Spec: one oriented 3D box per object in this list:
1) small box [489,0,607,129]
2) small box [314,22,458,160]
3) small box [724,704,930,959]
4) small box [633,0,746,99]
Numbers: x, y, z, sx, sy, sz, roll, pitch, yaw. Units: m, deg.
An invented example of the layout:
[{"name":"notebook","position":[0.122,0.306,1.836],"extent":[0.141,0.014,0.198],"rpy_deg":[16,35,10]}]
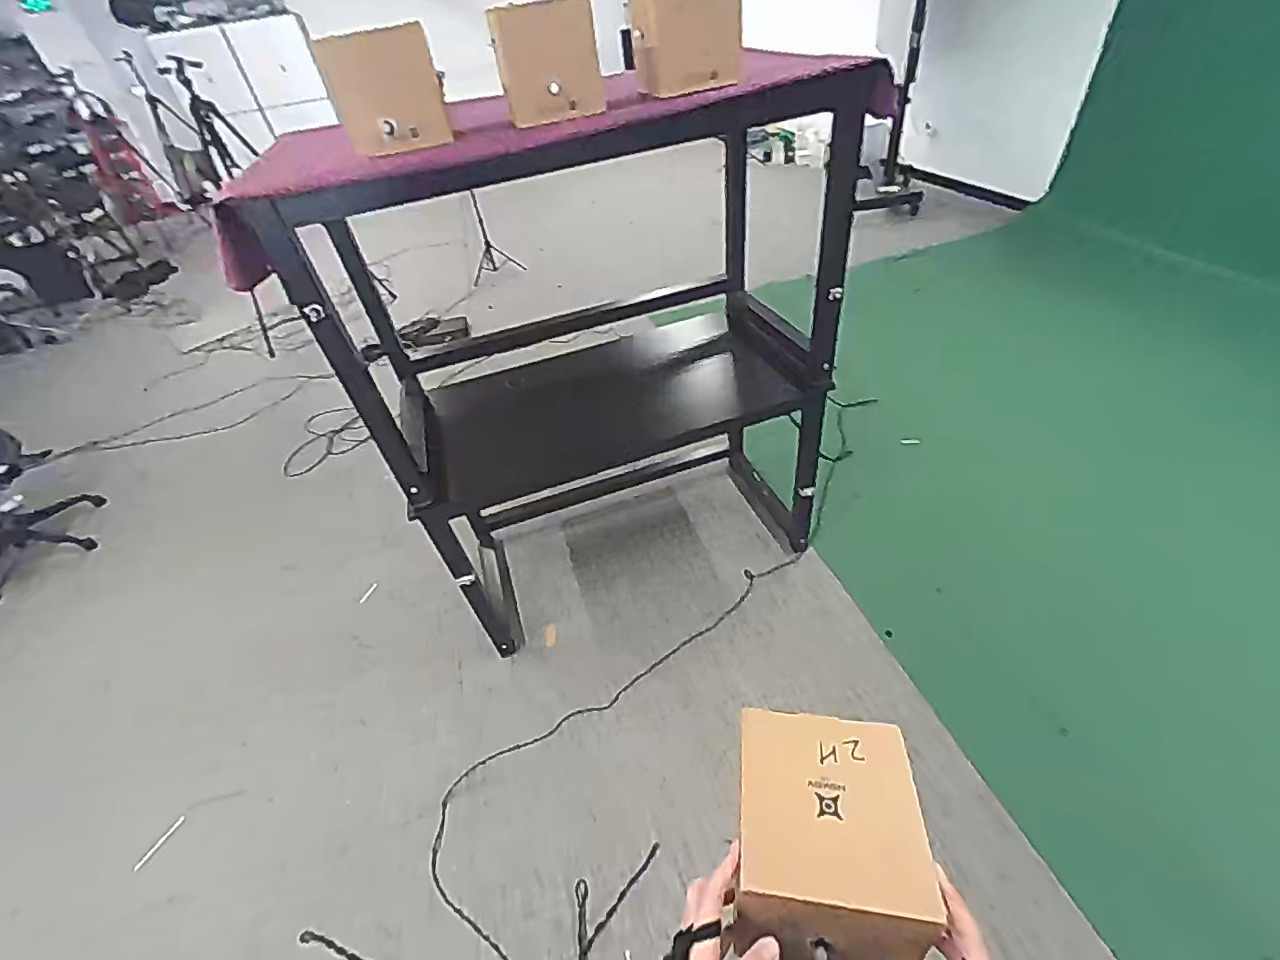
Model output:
[{"name":"small box","position":[-0.166,-0.756,0.983],"extent":[0.168,0.176,0.179],"rpy_deg":[-16,43,-7]},{"name":"small box","position":[-0.429,-0.678,0.946],"extent":[0.168,0.176,0.179],"rpy_deg":[-15,42,-5]},{"name":"small box","position":[0.175,0.367,0.562],"extent":[0.168,0.176,0.179],"rpy_deg":[3,34,9]},{"name":"small box","position":[0.091,-0.840,1.026],"extent":[0.168,0.176,0.179],"rpy_deg":[-16,41,-6]}]
